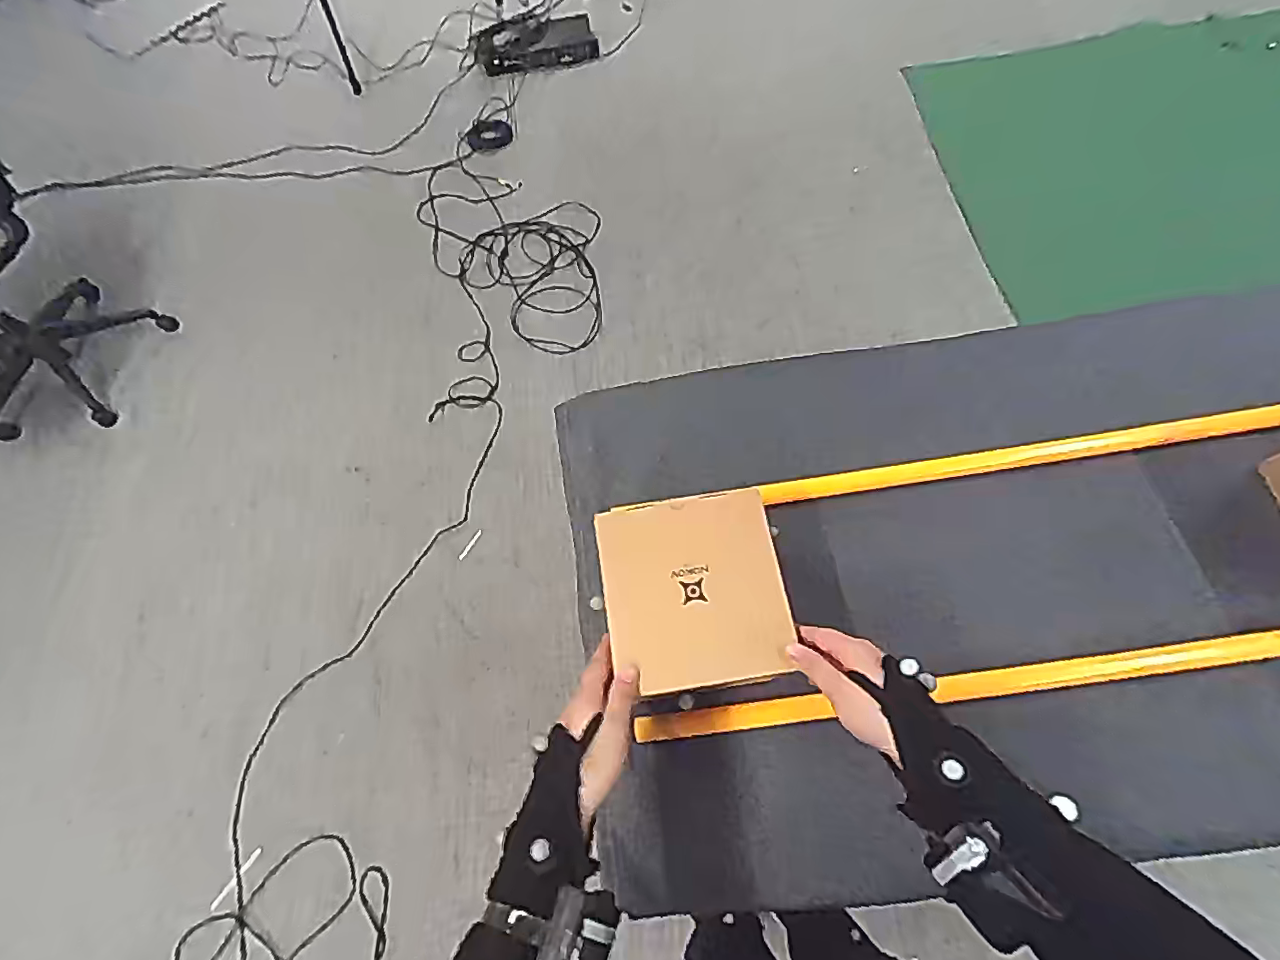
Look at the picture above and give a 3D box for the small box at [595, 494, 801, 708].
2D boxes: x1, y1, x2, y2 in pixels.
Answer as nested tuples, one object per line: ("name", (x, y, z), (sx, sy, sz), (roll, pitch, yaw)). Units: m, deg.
("small box", (0.054, 0.135, 0.569), (0.168, 0.176, 0.179), (-10, 65, 0))
